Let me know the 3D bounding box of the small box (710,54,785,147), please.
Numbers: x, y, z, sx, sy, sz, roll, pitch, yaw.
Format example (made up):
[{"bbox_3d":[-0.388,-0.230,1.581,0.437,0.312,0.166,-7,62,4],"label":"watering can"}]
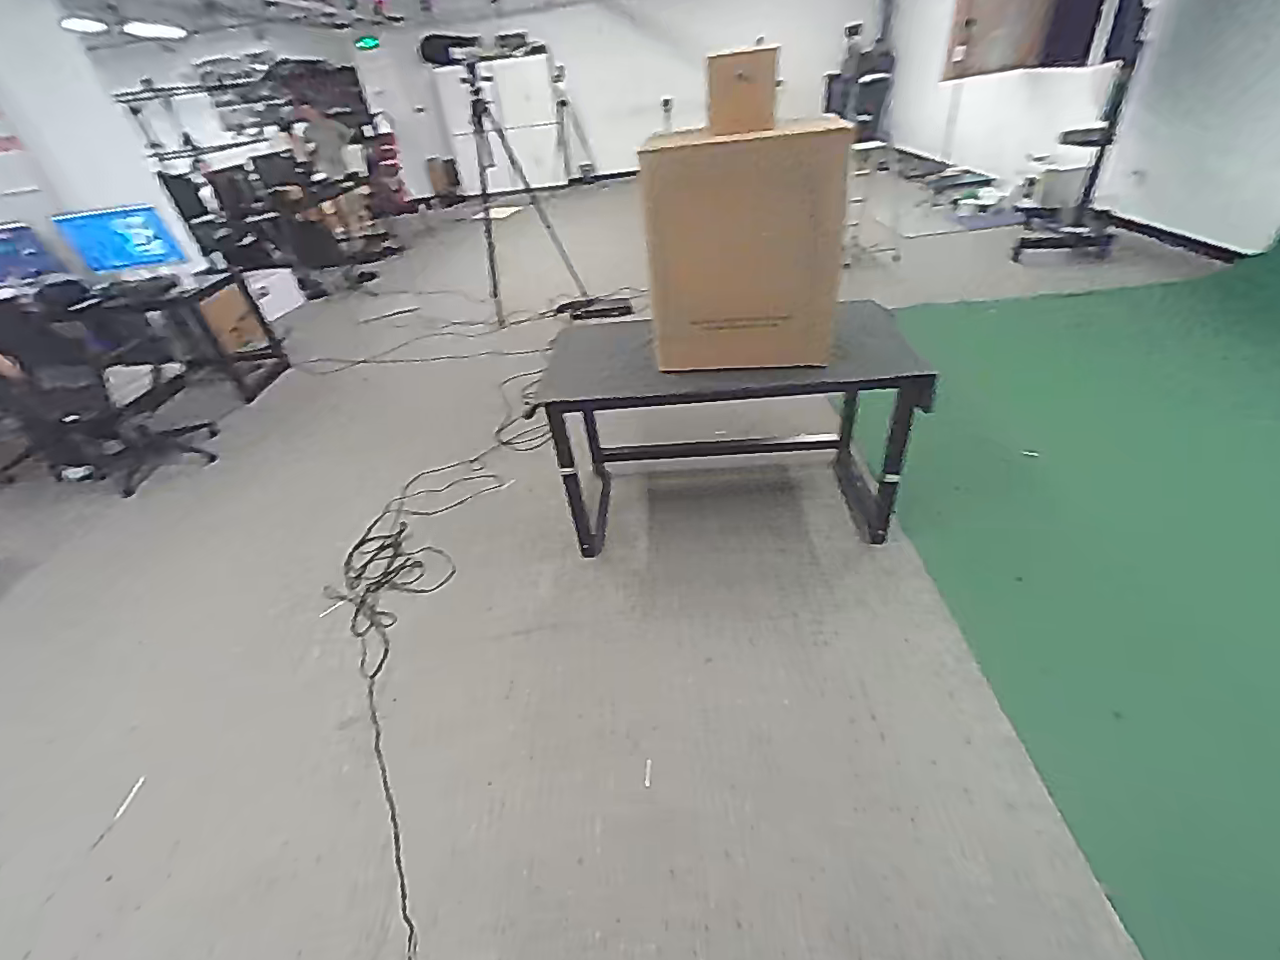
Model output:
[{"bbox_3d":[0.273,-0.972,1.387,0.179,0.176,0.168,0,40,11],"label":"small box"}]
